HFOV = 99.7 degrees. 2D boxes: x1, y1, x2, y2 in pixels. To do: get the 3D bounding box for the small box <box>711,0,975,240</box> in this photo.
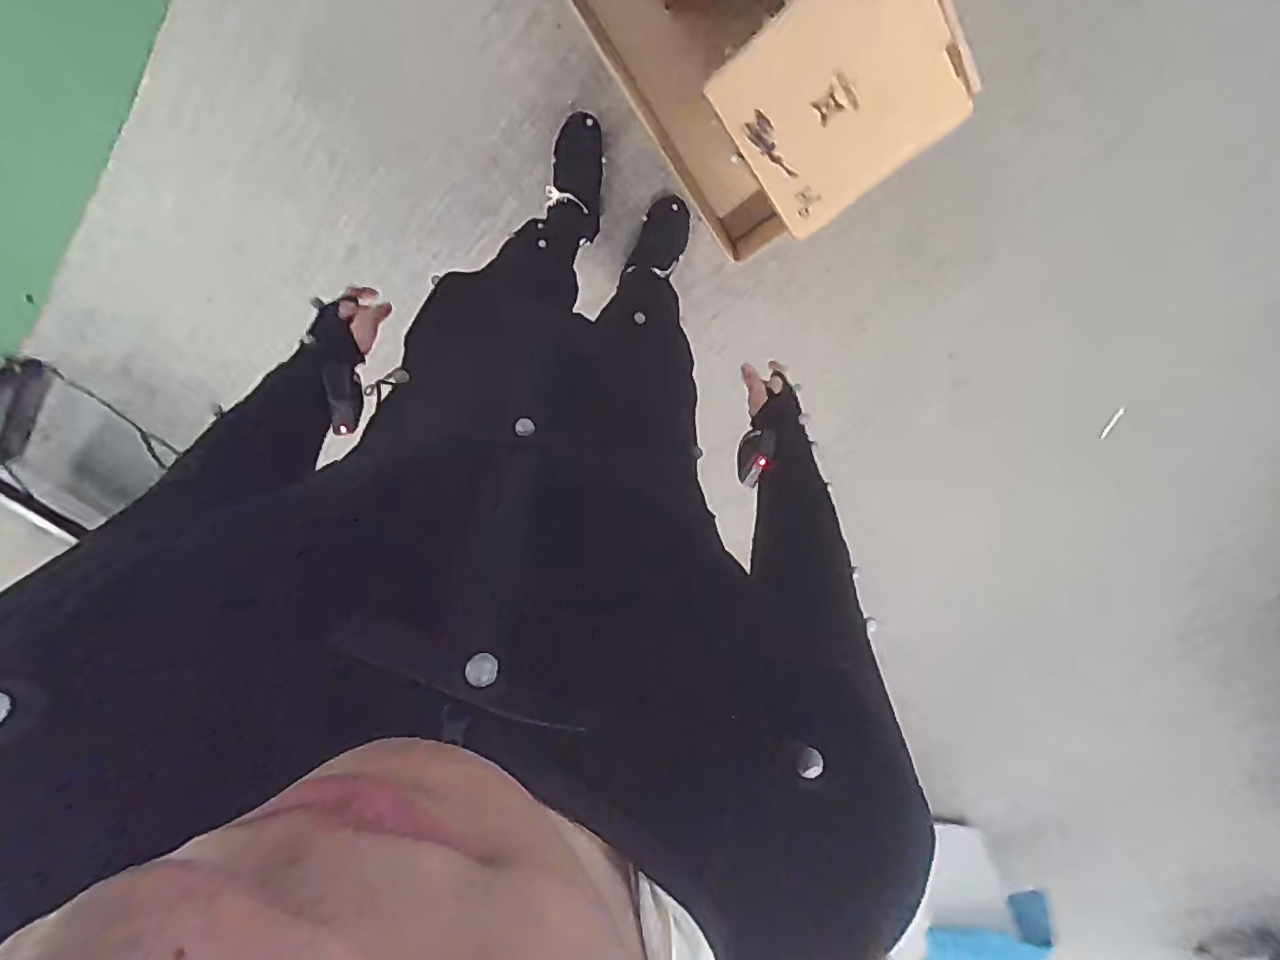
[{"bbox_3d":[0.182,-0.376,0.536,0.179,0.176,0.168,-31,115,24],"label":"small box"}]
